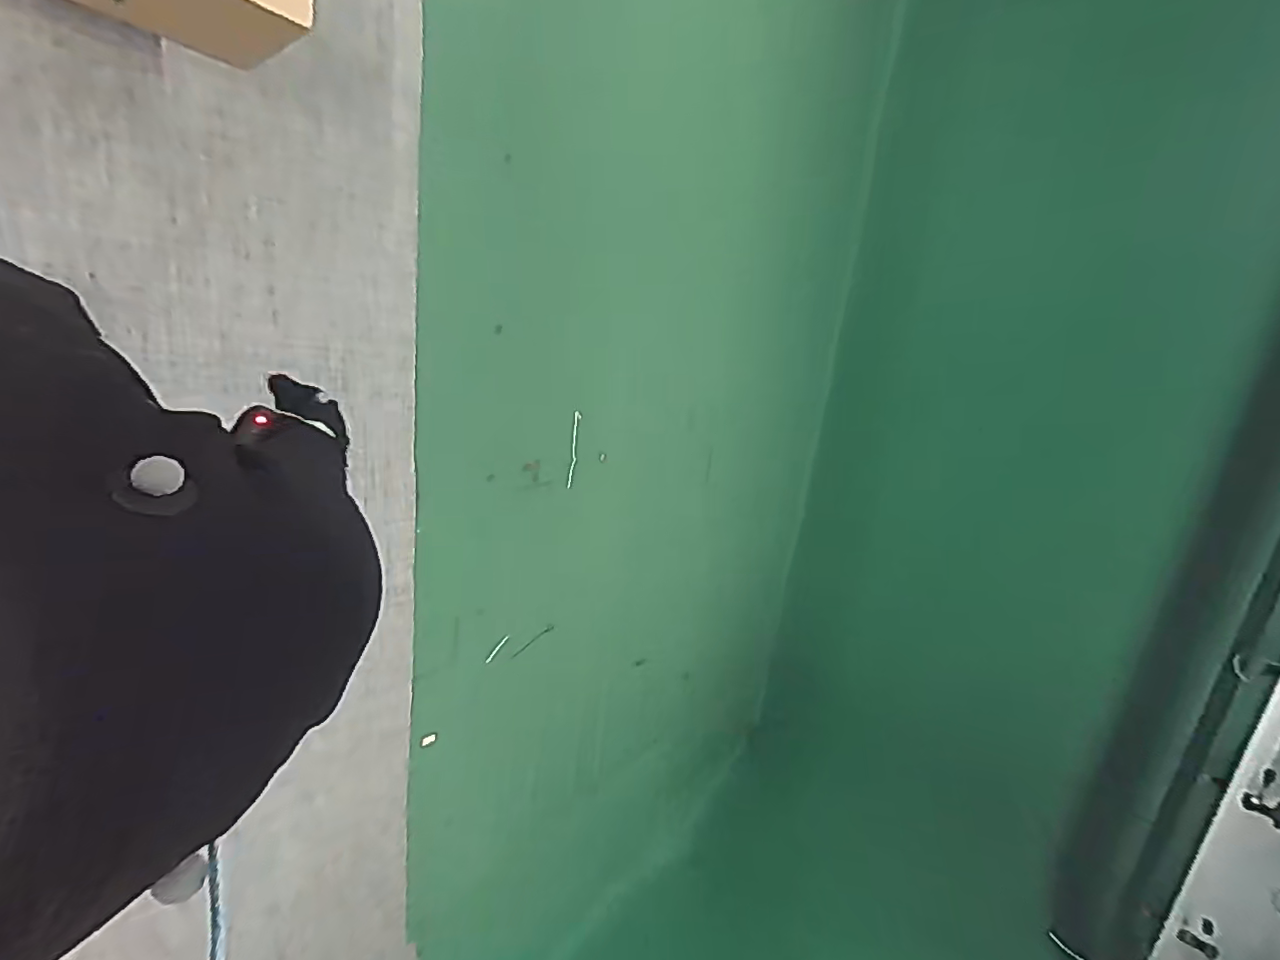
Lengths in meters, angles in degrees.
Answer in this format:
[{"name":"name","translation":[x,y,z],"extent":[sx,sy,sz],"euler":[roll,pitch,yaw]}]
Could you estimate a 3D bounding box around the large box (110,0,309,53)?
[{"name":"large box","translation":[-0.726,-0.873,0.734],"extent":[0.408,0.320,0.320],"euler":[-8,111,-50]}]
